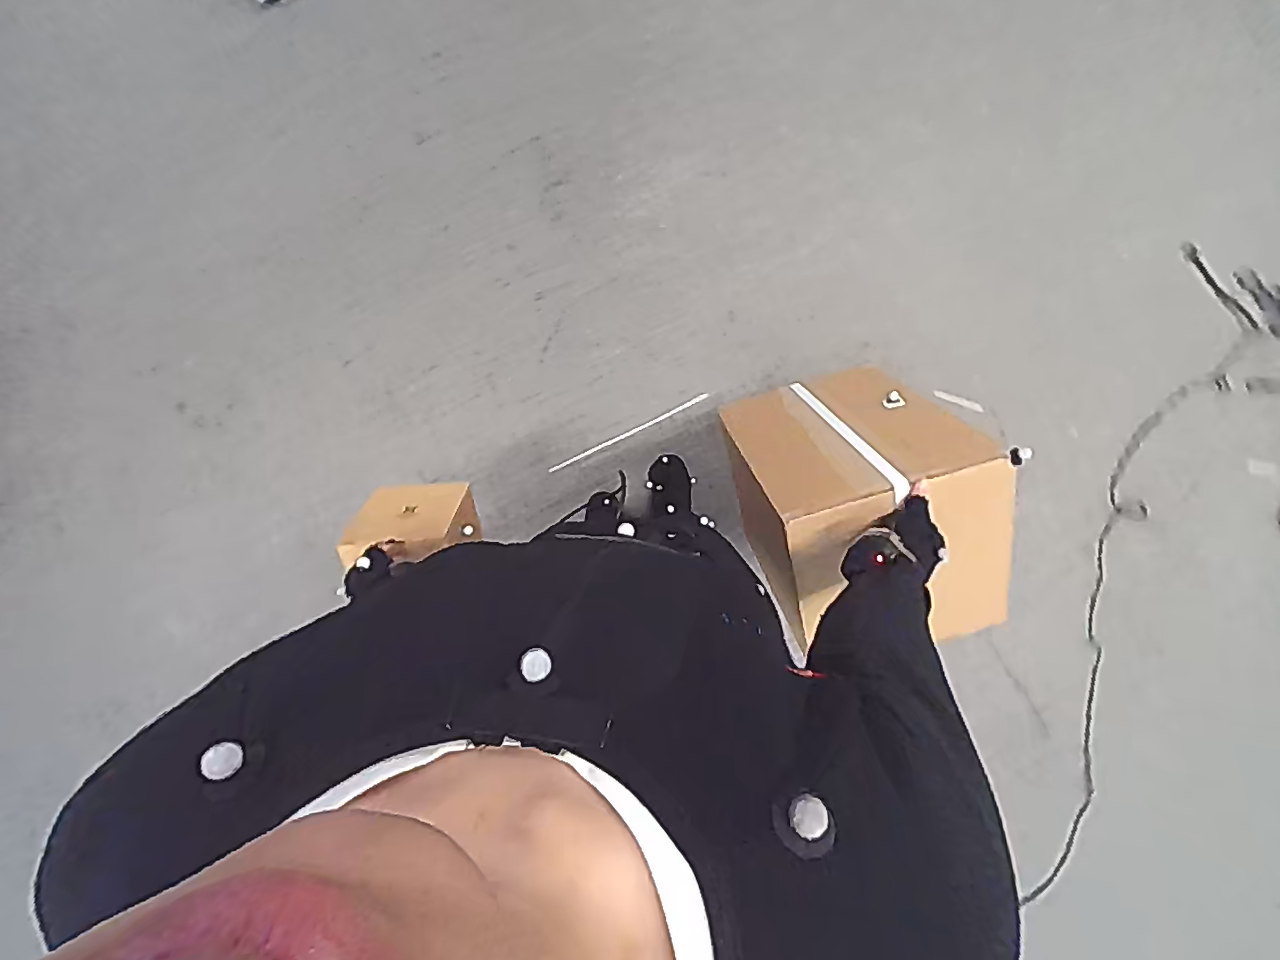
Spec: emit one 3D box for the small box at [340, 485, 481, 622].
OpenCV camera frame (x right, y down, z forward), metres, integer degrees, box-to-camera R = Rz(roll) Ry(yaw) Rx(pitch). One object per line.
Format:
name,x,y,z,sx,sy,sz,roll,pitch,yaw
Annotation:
small box,-0.382,0.124,0.939,0.168,0.179,0.176,-2,121,-2
